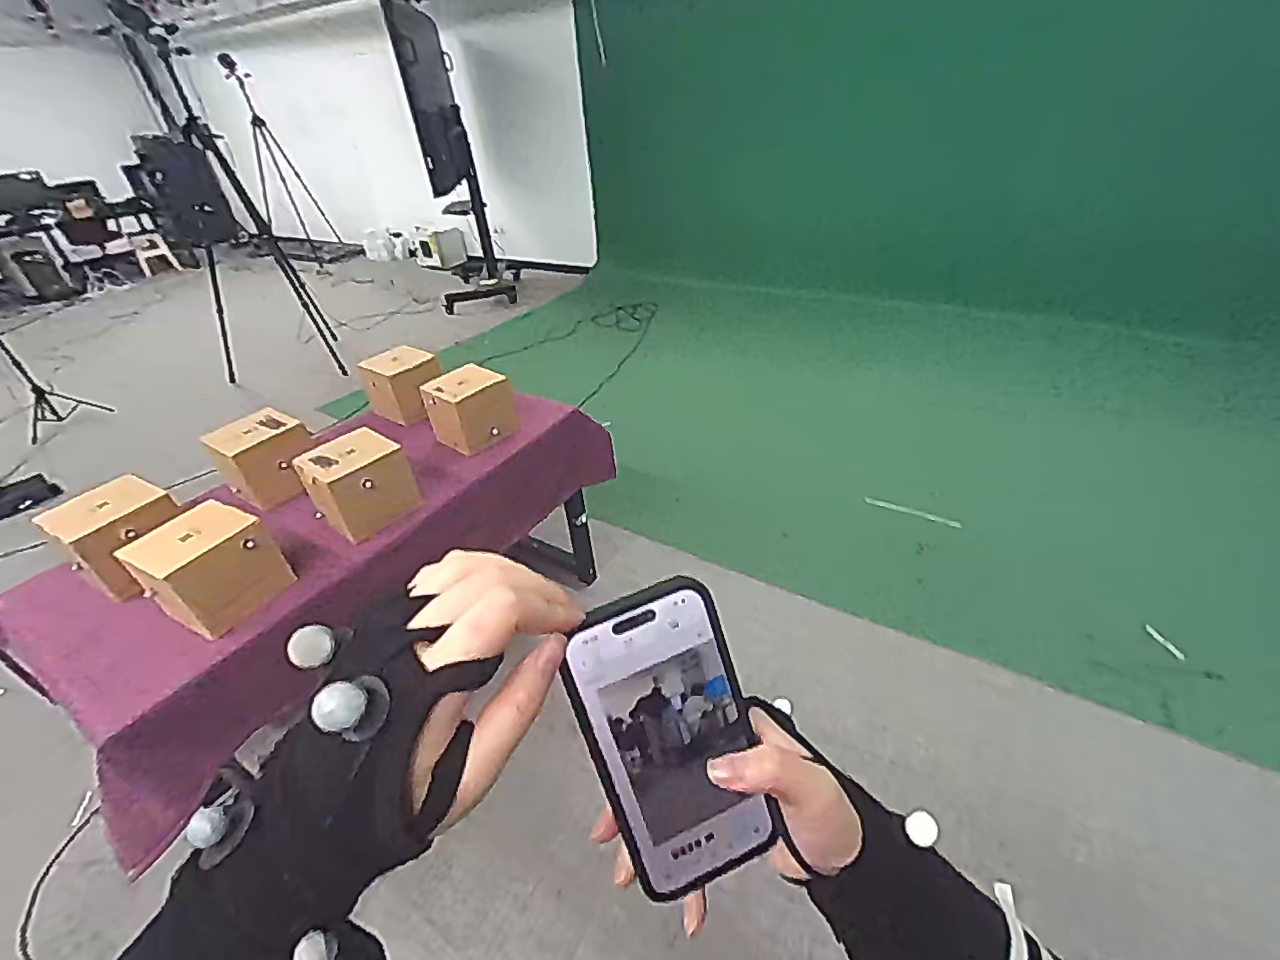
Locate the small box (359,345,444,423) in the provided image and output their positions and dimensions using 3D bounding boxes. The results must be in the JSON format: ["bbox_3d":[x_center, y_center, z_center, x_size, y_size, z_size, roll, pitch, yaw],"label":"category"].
[{"bbox_3d":[-0.714,-0.292,1.655,0.179,0.176,0.168,22,44,30],"label":"small box"}]

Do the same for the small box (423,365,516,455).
[{"bbox_3d":[-0.461,-0.196,1.496,0.168,0.176,0.179,23,44,34],"label":"small box"}]

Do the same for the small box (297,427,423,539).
[{"bbox_3d":[-0.633,0.006,1.238,0.168,0.176,0.179,23,43,32],"label":"small box"}]

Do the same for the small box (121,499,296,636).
[{"bbox_3d":[-0.815,0.167,1.039,0.168,0.176,0.179,14,38,24],"label":"small box"}]
